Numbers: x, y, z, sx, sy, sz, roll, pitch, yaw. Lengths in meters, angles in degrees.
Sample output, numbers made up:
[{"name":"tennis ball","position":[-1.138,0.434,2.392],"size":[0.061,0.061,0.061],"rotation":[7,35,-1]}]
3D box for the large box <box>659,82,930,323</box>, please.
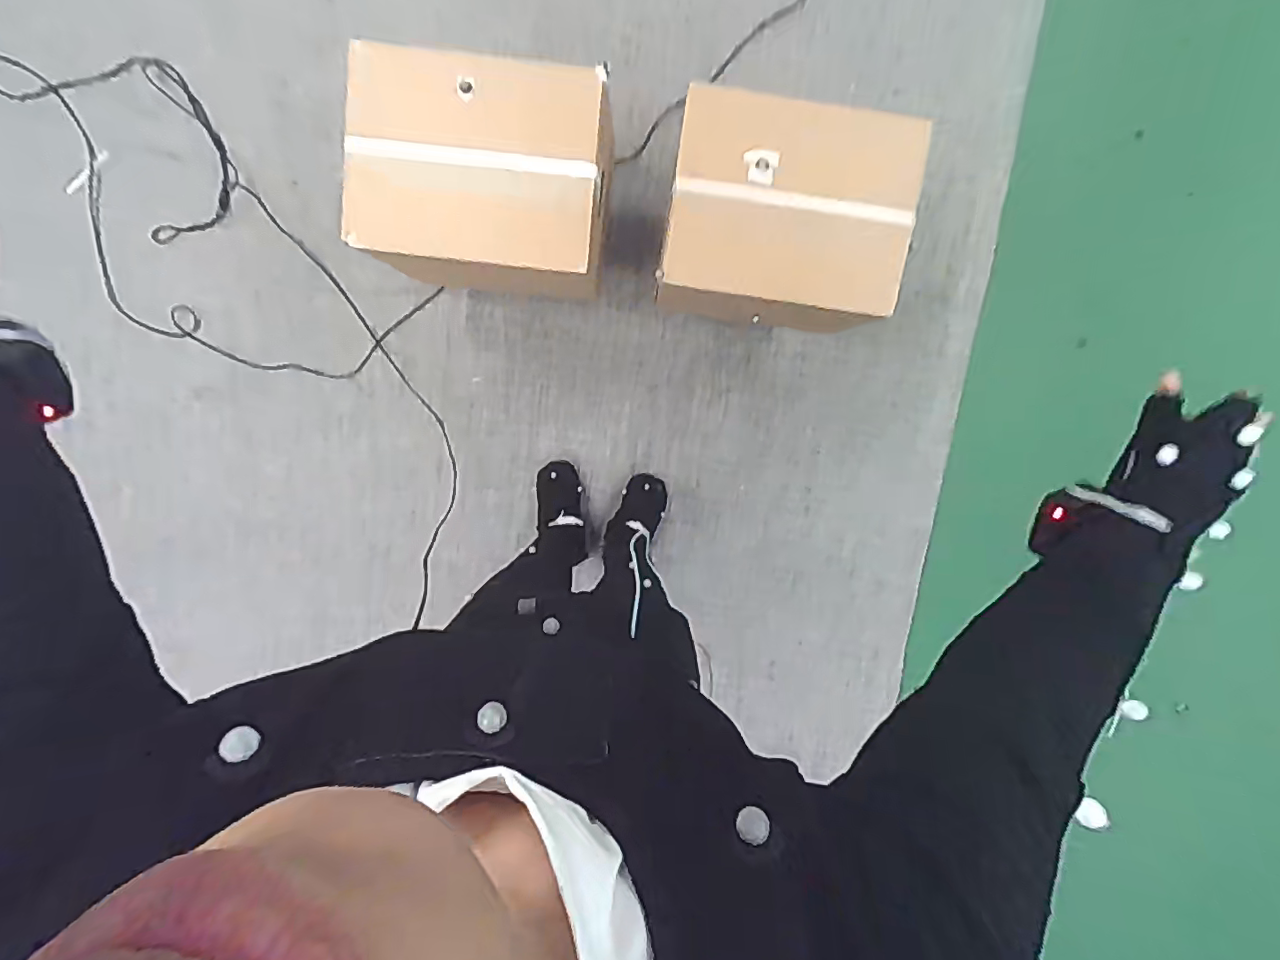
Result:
[{"name":"large box","position":[0.260,-0.497,1.048],"size":[0.408,0.320,0.320],"rotation":[8,100,-1]}]
